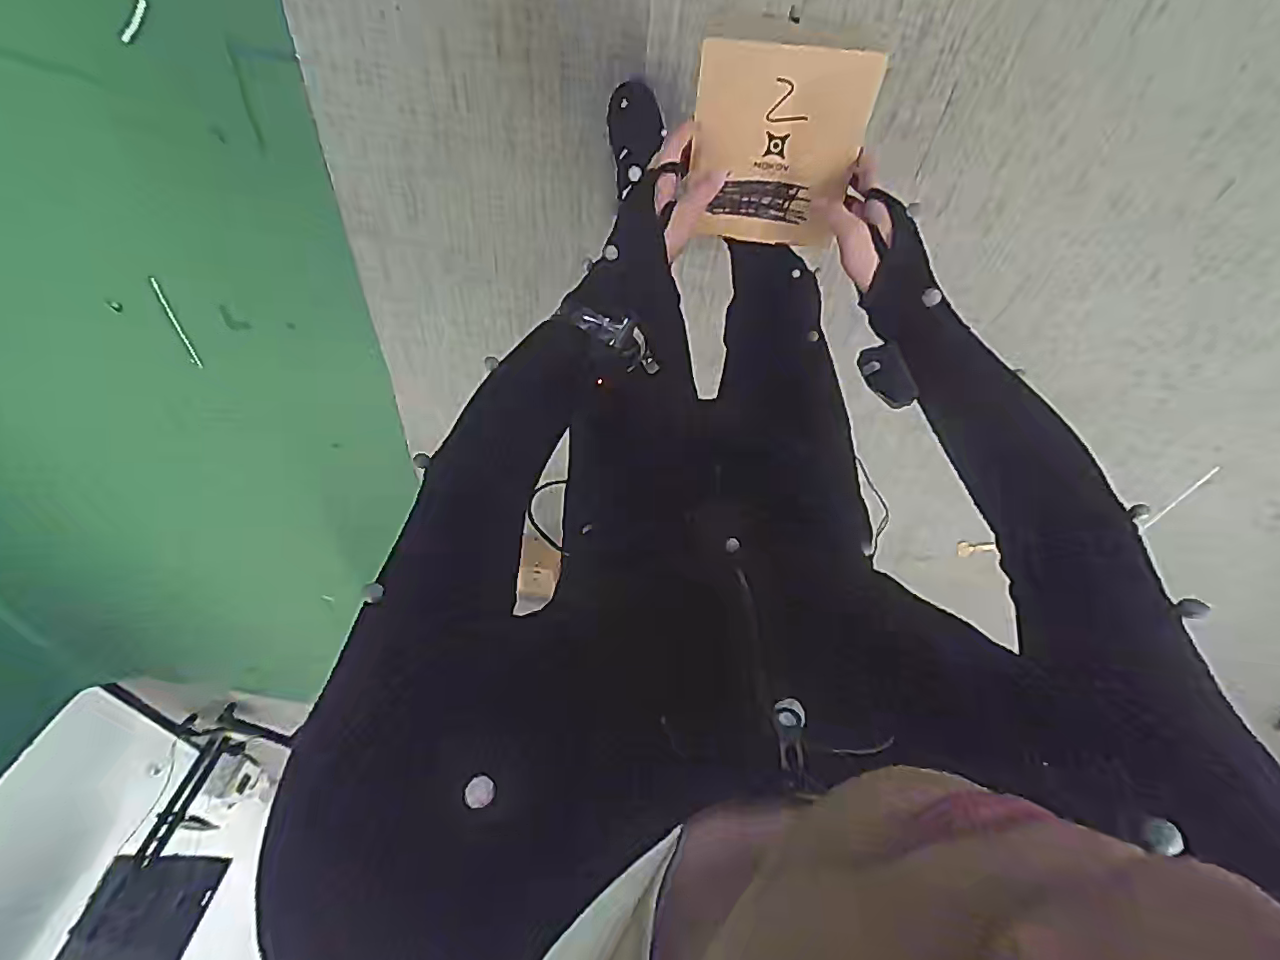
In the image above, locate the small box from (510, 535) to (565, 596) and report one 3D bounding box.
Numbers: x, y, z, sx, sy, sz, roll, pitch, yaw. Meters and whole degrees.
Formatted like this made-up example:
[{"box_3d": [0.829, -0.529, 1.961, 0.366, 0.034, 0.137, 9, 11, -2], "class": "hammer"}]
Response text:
[{"box_3d": [-0.411, 0.348, 2.202, 0.168, 0.176, 0.179, 4, 136, 6], "class": "small box"}]
